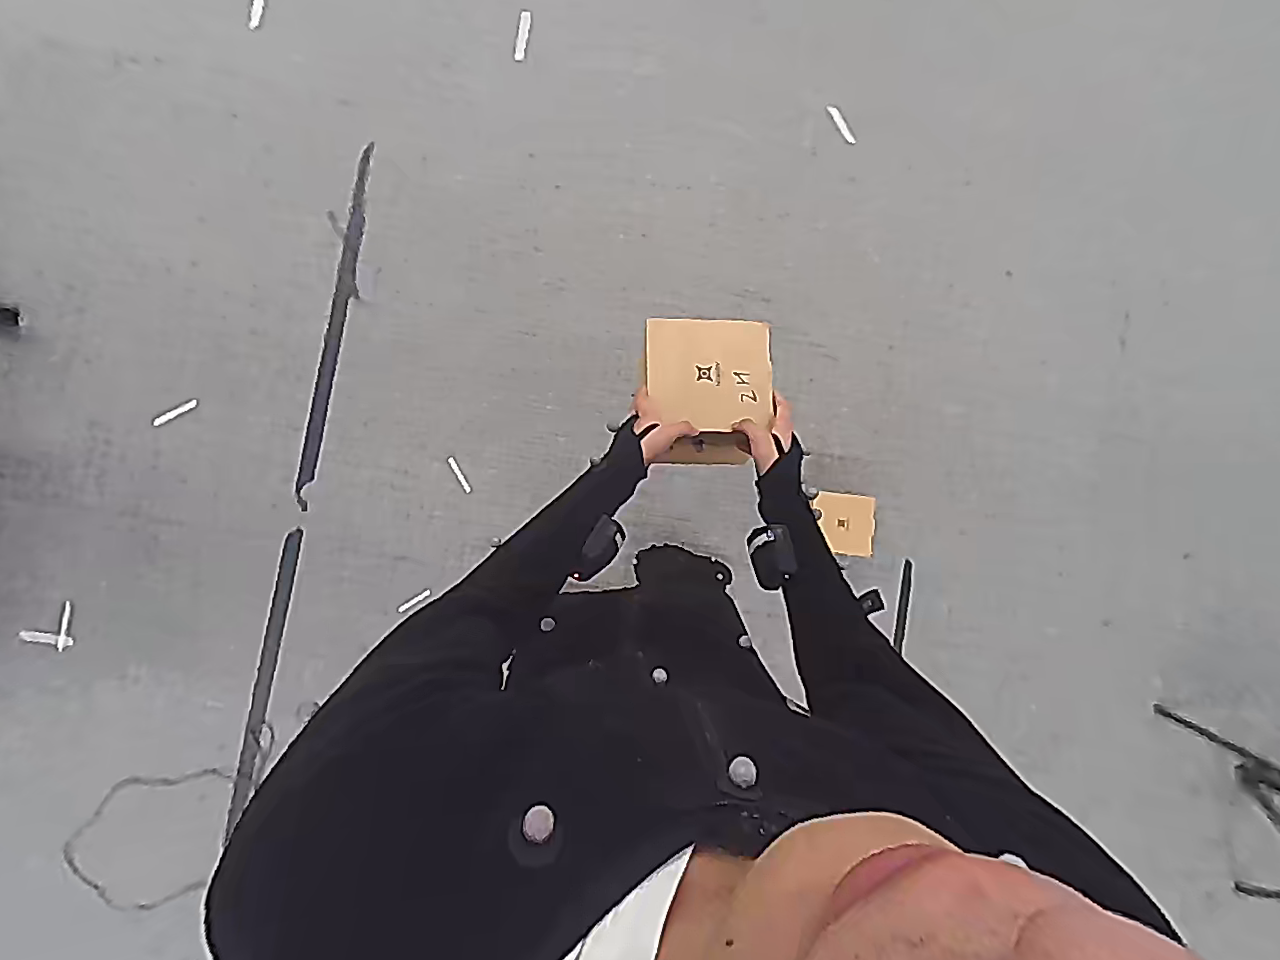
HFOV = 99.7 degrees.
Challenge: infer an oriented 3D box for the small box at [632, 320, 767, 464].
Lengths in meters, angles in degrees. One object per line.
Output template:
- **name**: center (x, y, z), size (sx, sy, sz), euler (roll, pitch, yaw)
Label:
- **small box**: center (0.077, -0.122, 0.807), size (0.179, 0.176, 0.168), euler (0, 77, -5)

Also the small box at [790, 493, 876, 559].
- **small box**: center (0.551, 0.127, 1.560), size (0.179, 0.176, 0.168), euler (7, 88, -1)
